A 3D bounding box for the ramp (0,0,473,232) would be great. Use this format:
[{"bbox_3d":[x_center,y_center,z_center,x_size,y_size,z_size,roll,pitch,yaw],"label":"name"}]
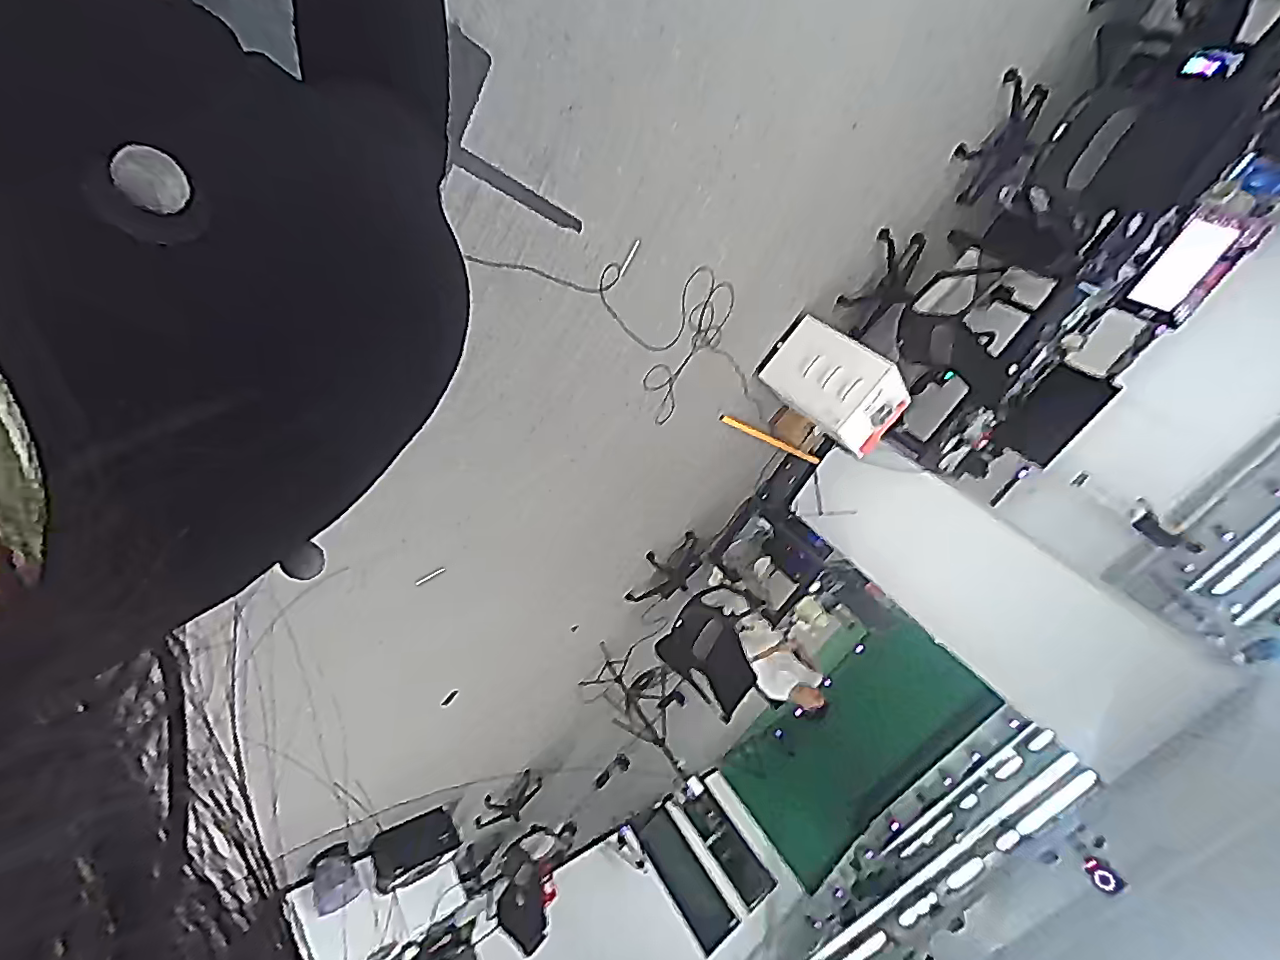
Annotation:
[{"bbox_3d":[-0.793,-0.873,1.029,0.991,0.206,0.509,3,123,-50],"label":"ramp"}]
